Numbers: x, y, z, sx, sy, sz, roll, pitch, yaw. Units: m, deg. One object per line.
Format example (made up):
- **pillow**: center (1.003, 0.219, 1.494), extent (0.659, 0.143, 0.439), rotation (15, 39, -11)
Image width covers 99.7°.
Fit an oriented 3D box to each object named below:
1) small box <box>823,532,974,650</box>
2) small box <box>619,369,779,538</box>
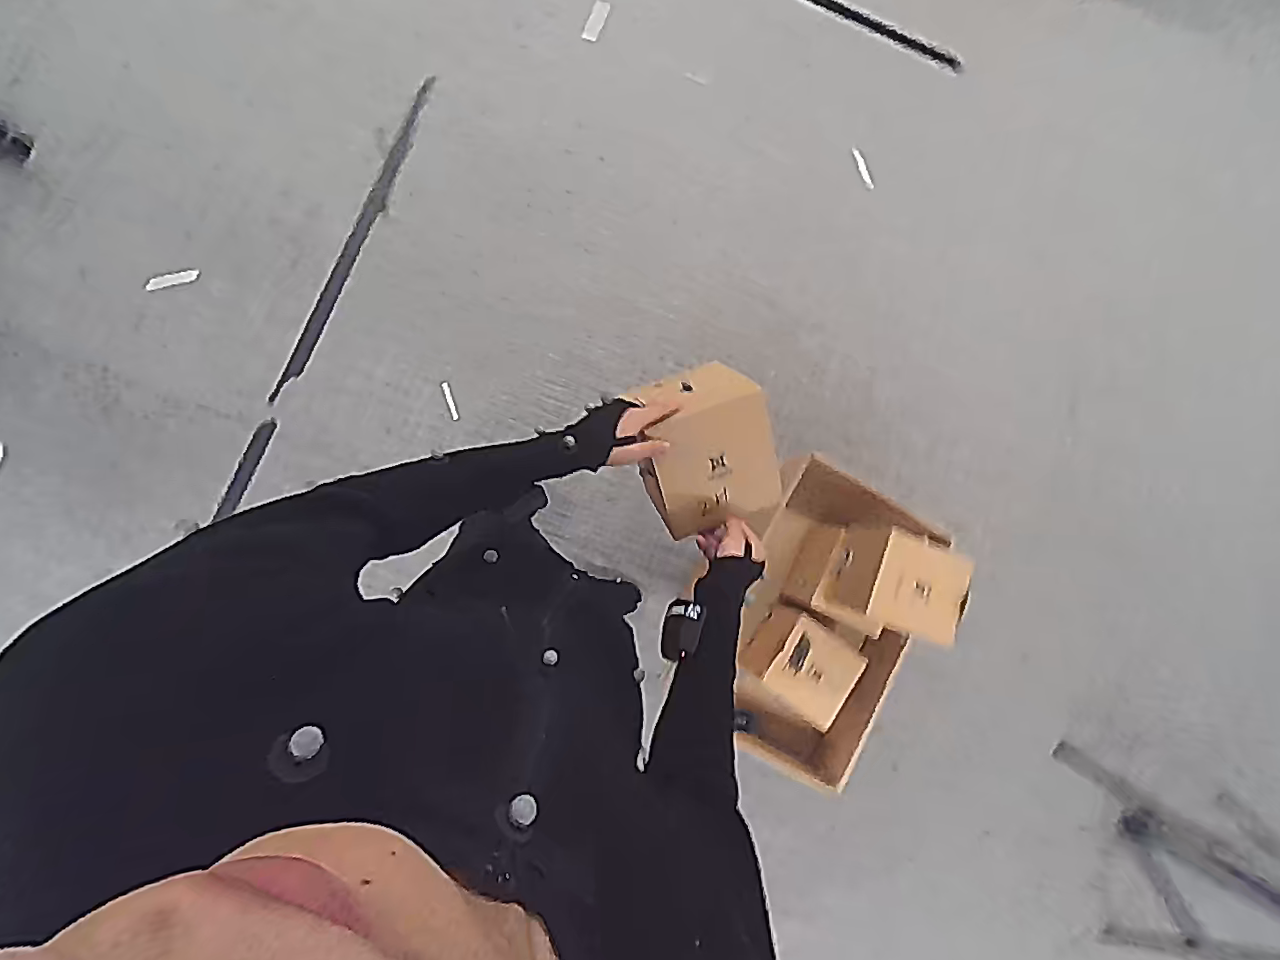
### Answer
- **small box**: center (0.492, 0.205, 1.050), extent (0.179, 0.176, 0.168), rotation (22, 84, -5)
- **small box**: center (0.078, -0.050, 0.784), extent (0.168, 0.176, 0.179), rotation (-19, 117, -5)
